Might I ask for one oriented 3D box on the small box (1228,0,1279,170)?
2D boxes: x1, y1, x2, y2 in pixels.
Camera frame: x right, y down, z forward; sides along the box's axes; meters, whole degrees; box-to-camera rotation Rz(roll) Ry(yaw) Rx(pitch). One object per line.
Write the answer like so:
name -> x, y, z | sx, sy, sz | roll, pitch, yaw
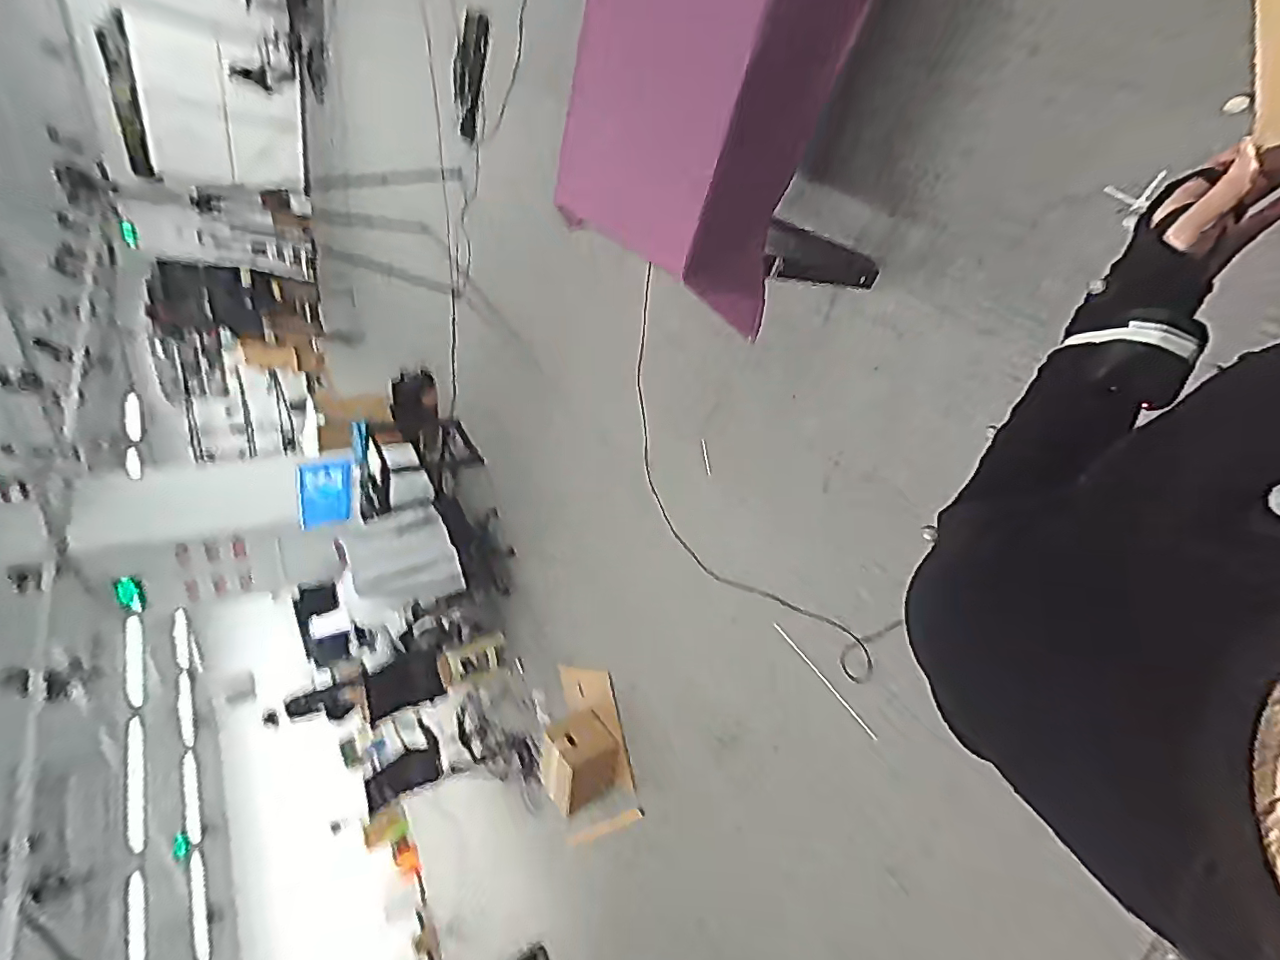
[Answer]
small box -> 0.449, -0.293, 0.296 | 0.168, 0.176, 0.179 | -1, 103, 50
